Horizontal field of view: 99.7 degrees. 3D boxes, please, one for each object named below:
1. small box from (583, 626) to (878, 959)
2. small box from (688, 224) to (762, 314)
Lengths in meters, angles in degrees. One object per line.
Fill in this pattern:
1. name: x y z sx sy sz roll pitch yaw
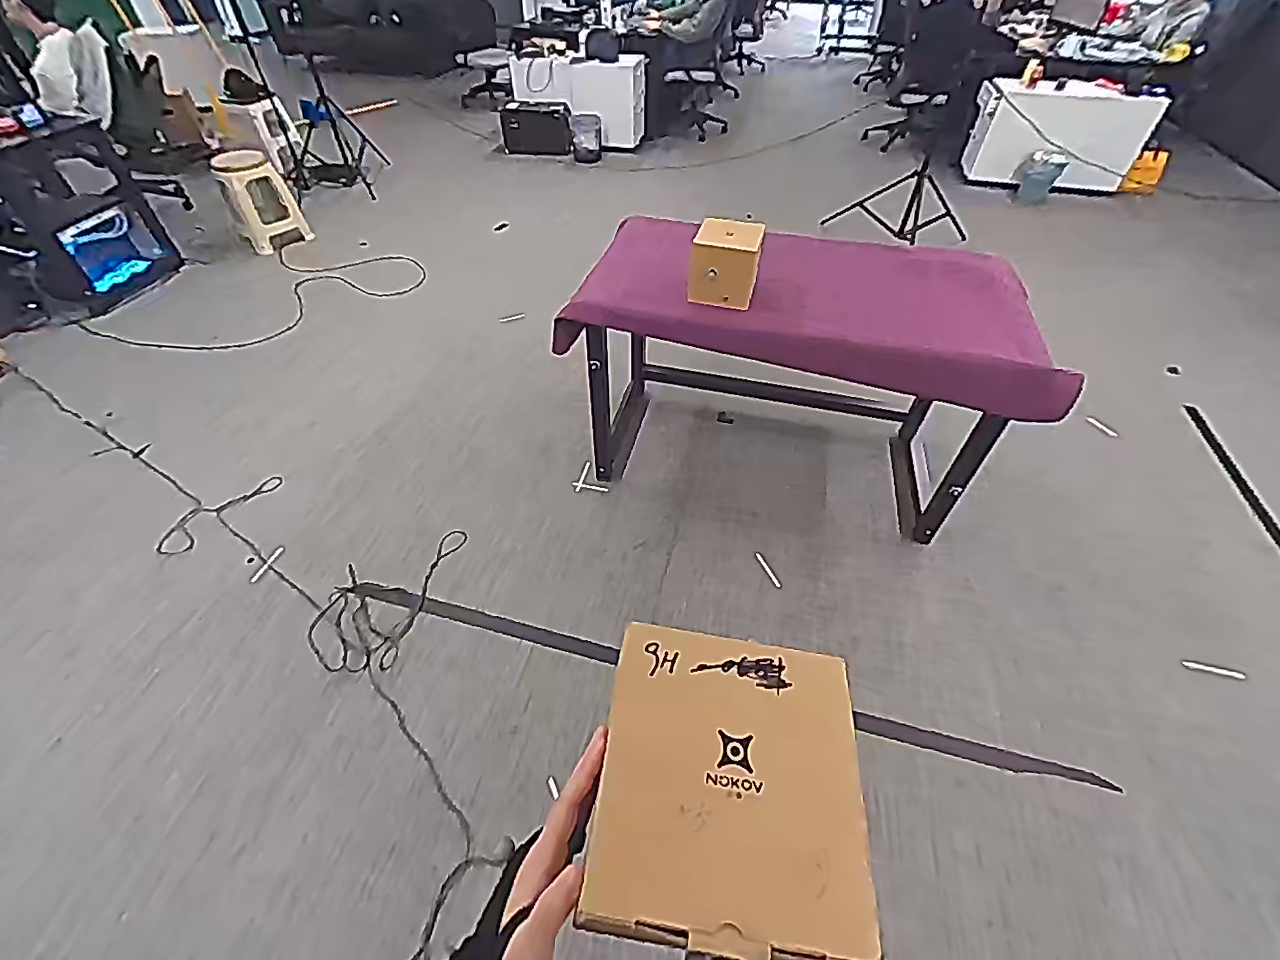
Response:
1. small box: 0.054 0.238 0.409 0.168 0.176 0.179 10 49 0
2. small box: 0.230 -0.574 1.479 0.168 0.176 0.179 12 47 10
